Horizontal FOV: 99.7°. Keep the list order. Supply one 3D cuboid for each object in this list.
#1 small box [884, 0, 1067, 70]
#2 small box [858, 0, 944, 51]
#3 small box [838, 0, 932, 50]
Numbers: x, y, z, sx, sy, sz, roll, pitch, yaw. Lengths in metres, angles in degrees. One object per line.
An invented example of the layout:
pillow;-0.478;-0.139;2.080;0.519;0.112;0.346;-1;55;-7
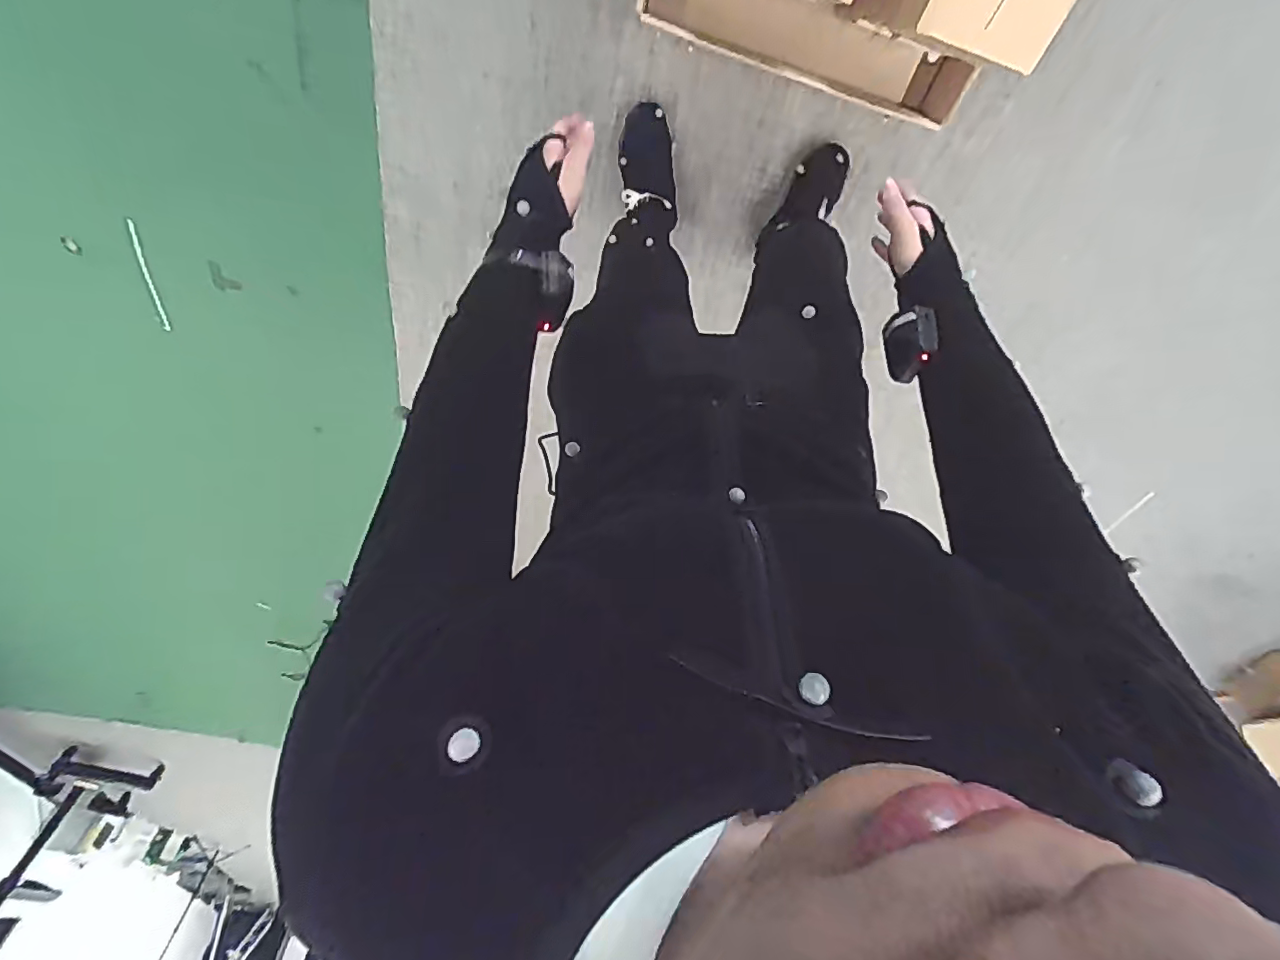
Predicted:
small box;0.442;-0.660;0.687;0.168;0.176;0.179;14;132;-8
small box;0.454;-0.773;0.806;0.168;0.176;0.179;15;131;-9
small box;0.461;-0.879;0.929;0.168;0.176;0.179;13;131;-8
